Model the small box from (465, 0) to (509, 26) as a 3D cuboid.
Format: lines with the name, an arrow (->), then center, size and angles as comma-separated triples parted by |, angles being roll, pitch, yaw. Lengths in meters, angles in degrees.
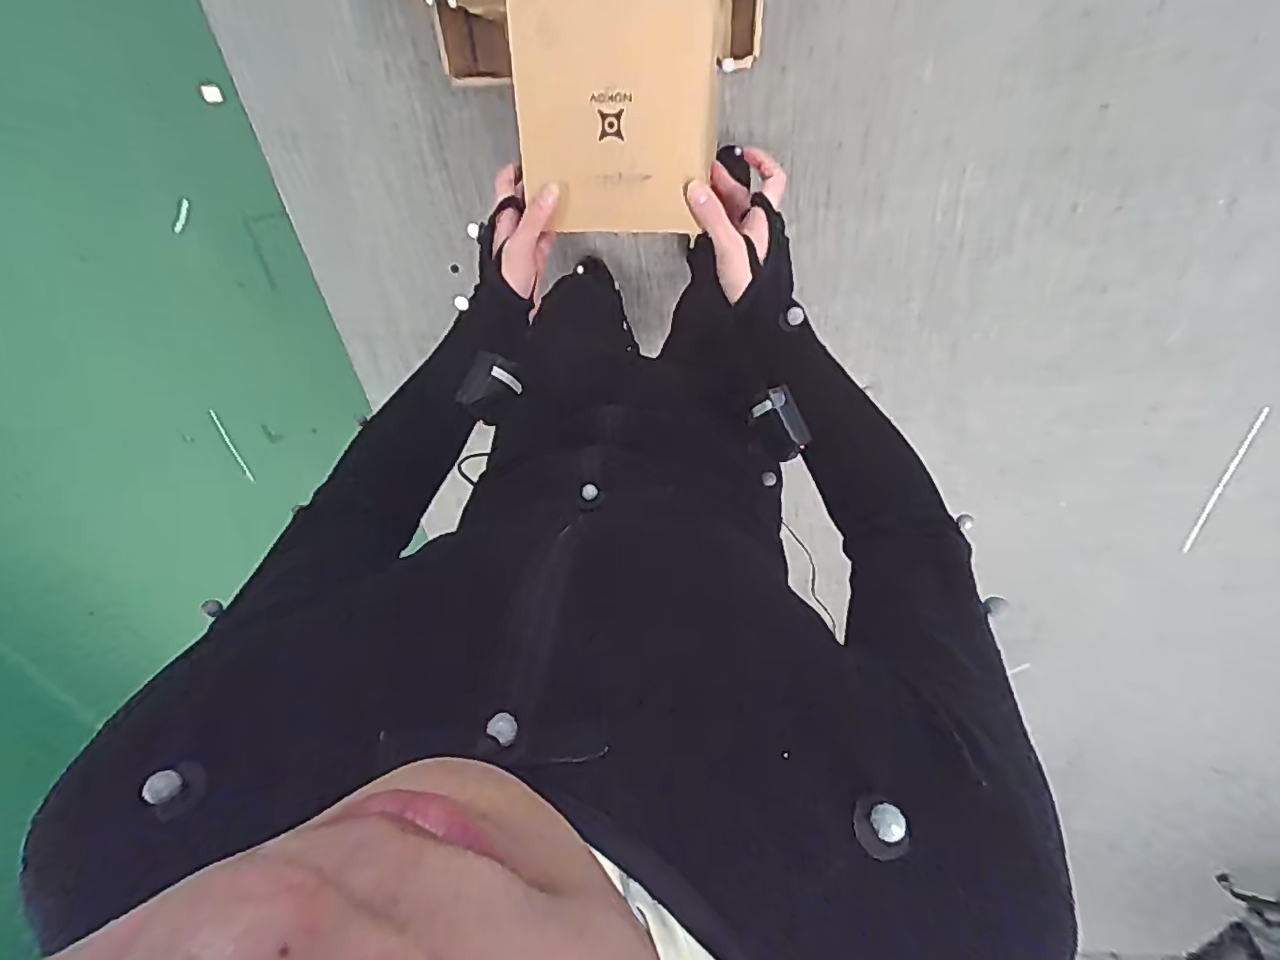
small box -> -0.224, -0.963, 0.992 | 0.168, 0.176, 0.179 | 4, 124, 9

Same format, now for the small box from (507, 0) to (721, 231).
small box -> -0.012, -0.342, 0.516 | 0.168, 0.176, 0.179 | 5, 120, 8
